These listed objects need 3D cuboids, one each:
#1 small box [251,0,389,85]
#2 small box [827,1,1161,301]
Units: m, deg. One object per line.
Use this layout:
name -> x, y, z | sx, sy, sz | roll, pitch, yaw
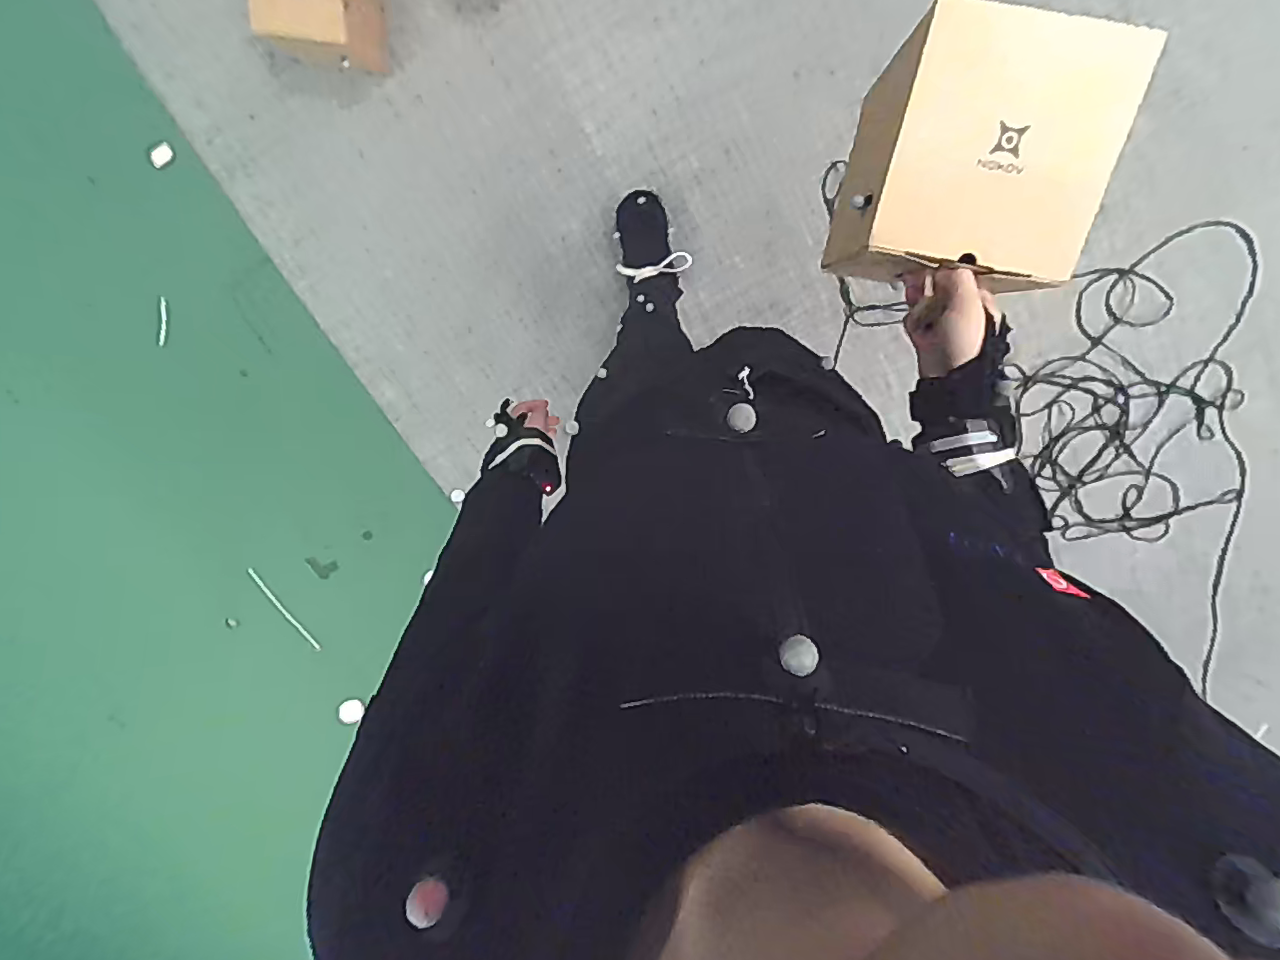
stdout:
small box -> -0.594, -0.876, 1.021 | 0.179, 0.176, 0.168 | 7, 109, 2
small box -> 0.286, -0.269, 0.488 | 0.168, 0.176, 0.179 | 12, 106, 2
